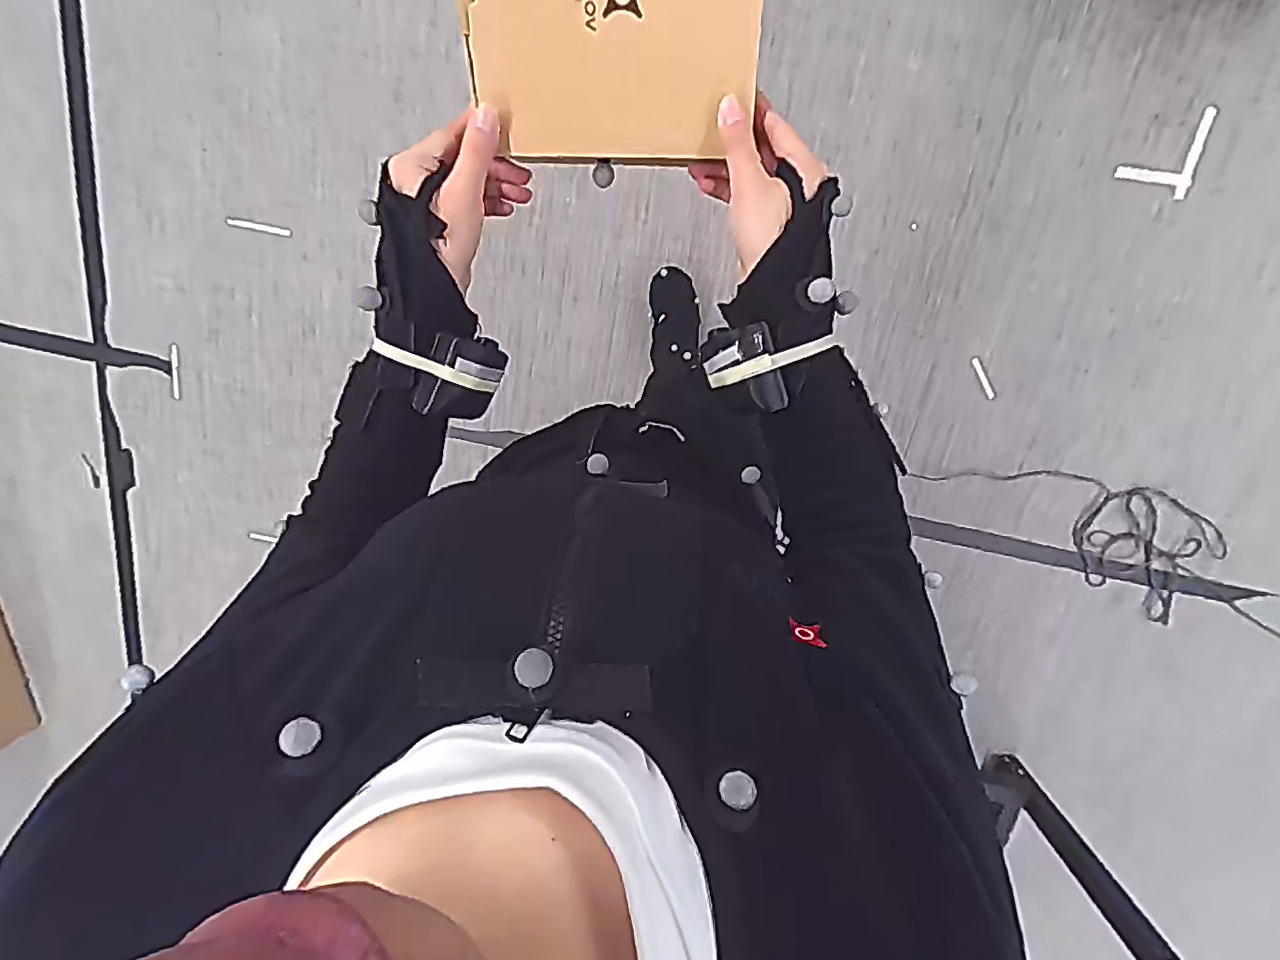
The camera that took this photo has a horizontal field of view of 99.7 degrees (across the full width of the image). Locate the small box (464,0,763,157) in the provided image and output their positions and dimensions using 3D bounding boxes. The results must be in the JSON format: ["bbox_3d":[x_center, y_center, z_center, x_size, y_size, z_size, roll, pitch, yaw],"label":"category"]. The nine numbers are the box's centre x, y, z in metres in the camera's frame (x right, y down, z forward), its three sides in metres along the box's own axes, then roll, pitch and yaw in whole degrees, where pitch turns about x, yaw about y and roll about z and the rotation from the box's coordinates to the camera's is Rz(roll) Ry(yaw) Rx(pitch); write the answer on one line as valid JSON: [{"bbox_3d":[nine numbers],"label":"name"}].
[{"bbox_3d":[-0.018,-0.325,0.375,0.179,0.176,0.168,0,119,-2],"label":"small box"}]
